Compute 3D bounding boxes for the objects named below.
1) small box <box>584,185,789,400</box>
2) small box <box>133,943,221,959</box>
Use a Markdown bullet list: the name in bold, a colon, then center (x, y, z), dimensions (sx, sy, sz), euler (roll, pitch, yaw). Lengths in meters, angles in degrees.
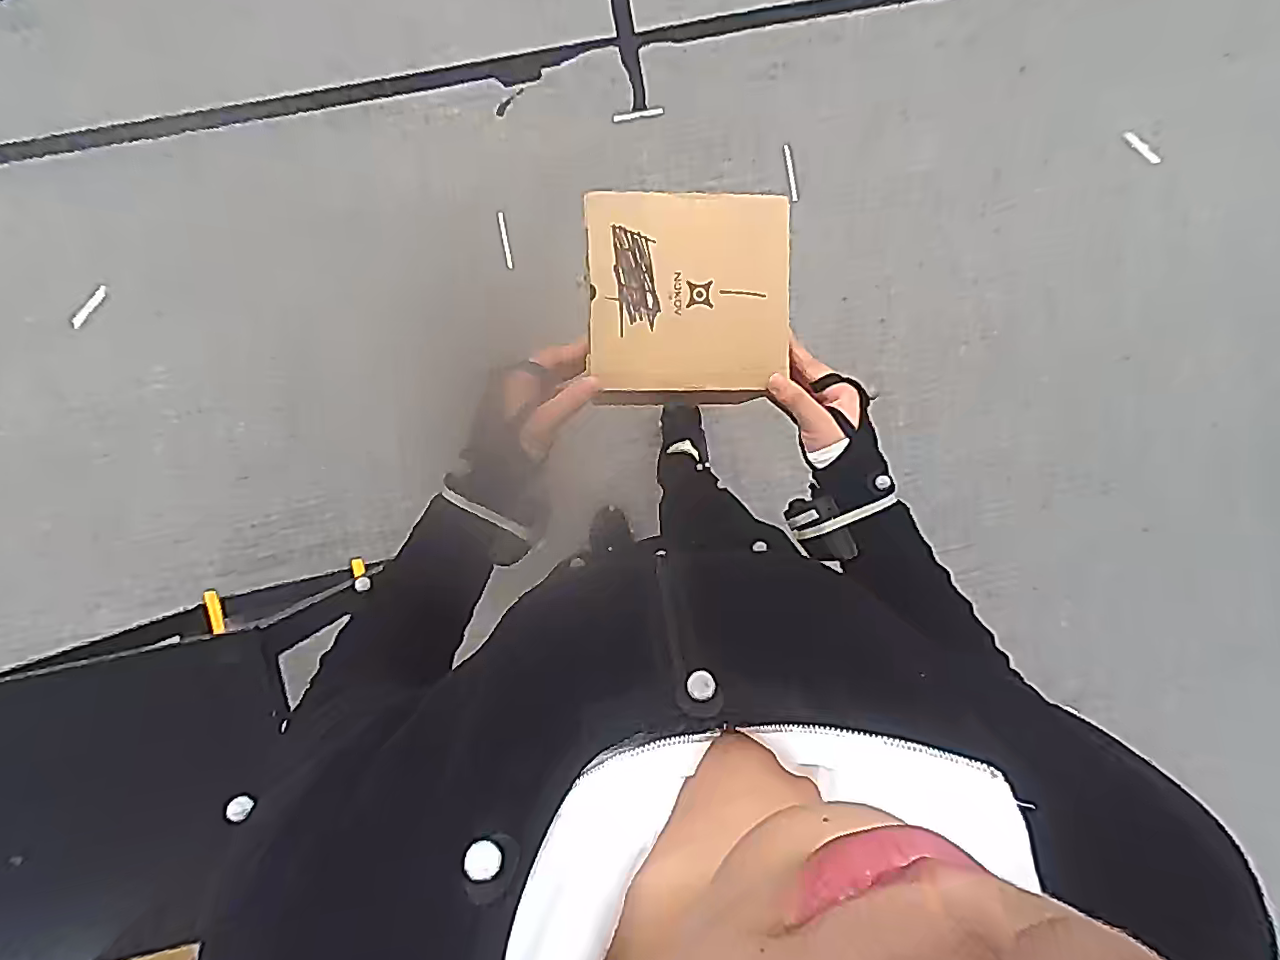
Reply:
- **small box**: center (0.036, -0.170, 0.539), dimensions (0.179, 0.176, 0.168), euler (-2, 94, -5)
- **small box**: center (-0.659, 0.743, 0.677), dimensions (0.179, 0.176, 0.168), euler (-13, 94, -3)
